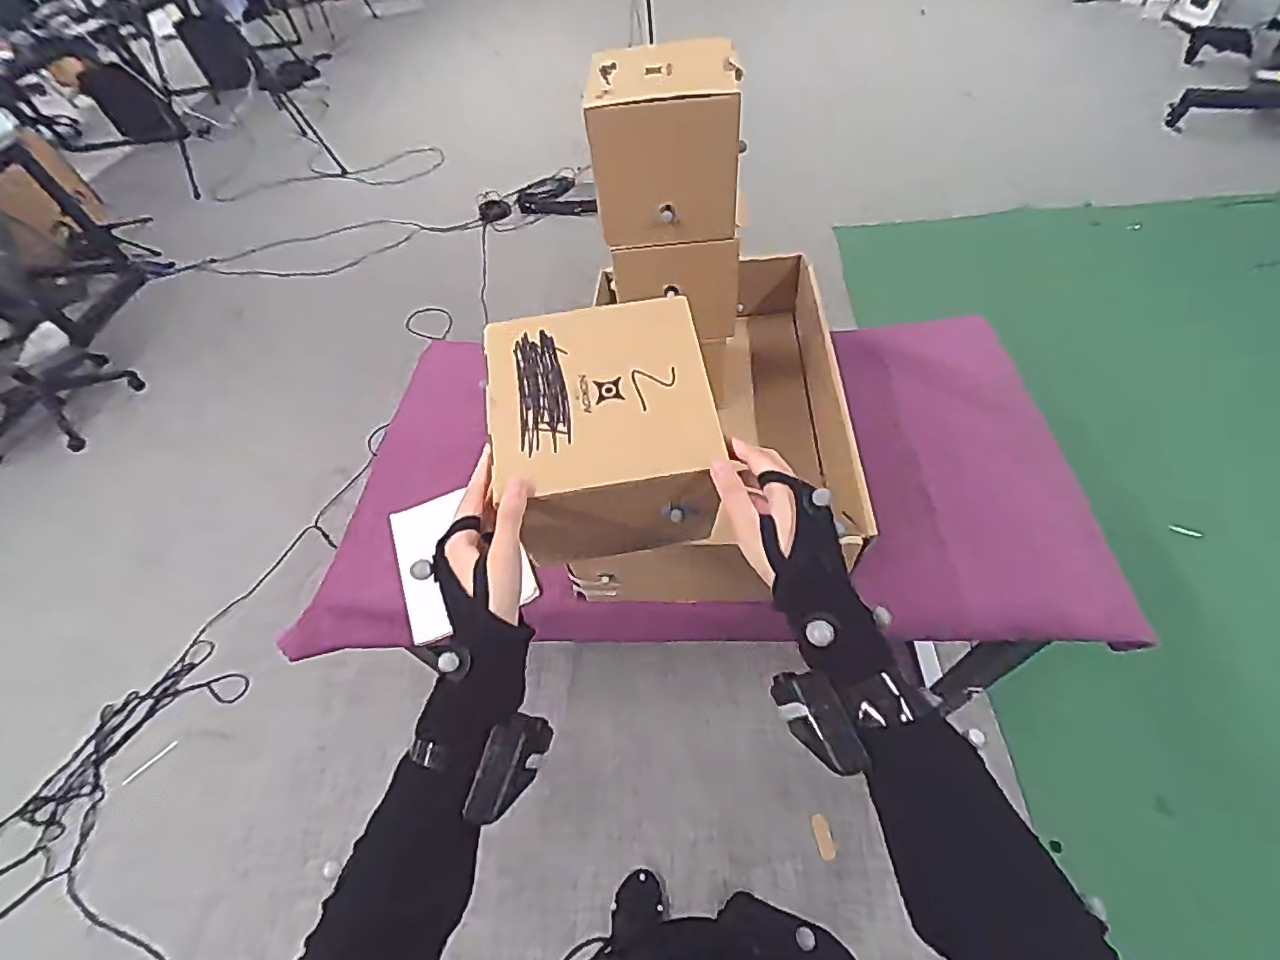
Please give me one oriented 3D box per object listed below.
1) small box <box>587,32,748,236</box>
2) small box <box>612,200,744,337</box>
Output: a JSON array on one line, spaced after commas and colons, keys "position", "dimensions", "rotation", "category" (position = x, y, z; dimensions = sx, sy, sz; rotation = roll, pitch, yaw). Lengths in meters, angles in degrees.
[{"position": [0.038, -0.435, 0.691], "dimensions": [0.179, 0.176, 0.168], "rotation": [-1, 55, 5], "category": "small box"}, {"position": [0.057, -0.338, 0.822], "dimensions": [0.179, 0.176, 0.168], "rotation": [-4, 55, 5], "category": "small box"}]
